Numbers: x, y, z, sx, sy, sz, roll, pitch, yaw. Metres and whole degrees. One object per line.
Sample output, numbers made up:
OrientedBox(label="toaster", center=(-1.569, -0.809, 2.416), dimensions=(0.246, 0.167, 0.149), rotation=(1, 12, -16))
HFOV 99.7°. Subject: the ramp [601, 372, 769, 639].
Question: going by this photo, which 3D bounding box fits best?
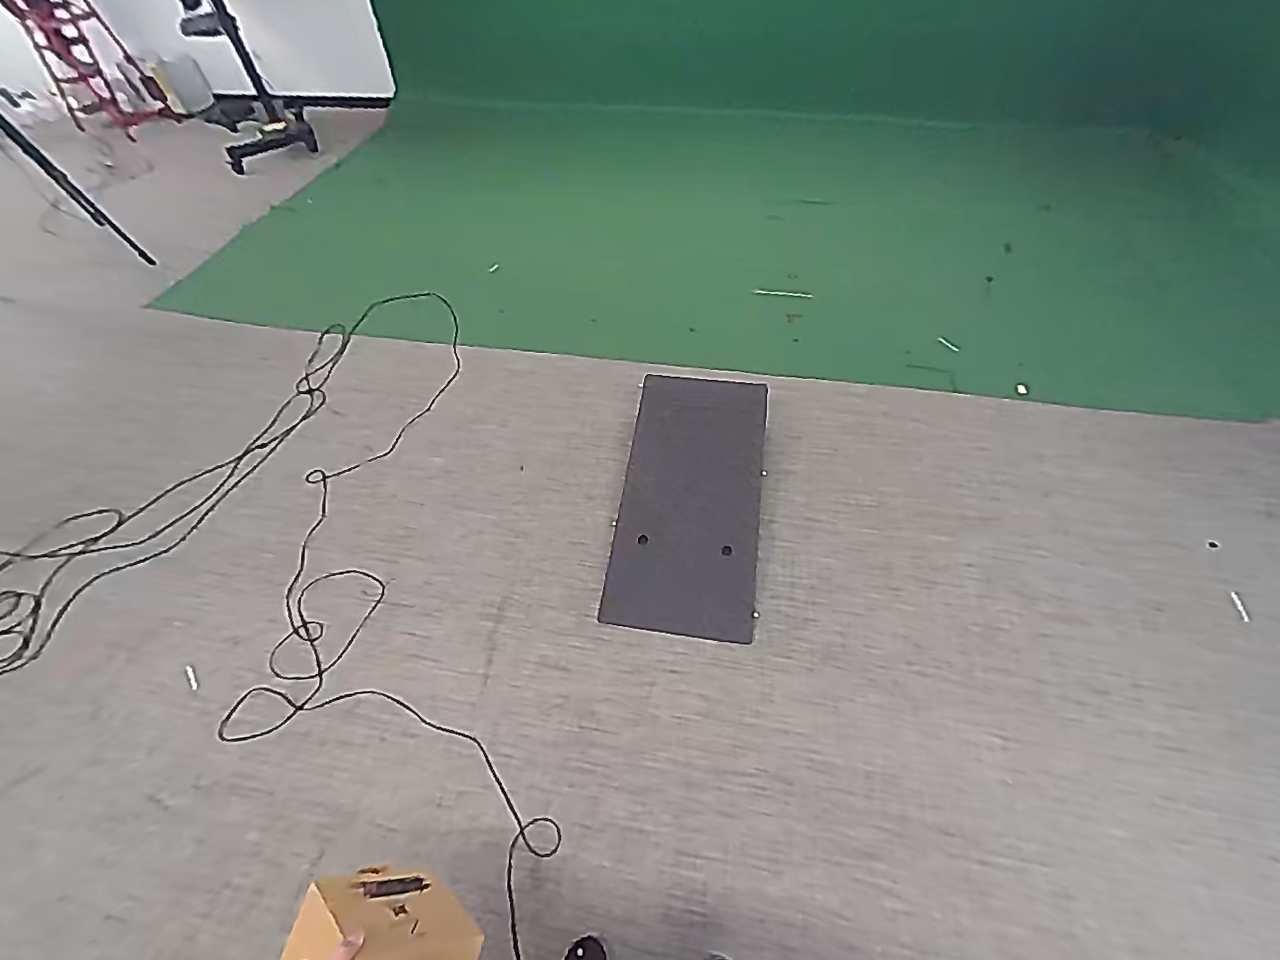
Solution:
OrientedBox(label="ramp", center=(0.191, 0.032, 1.914), dimensions=(0.509, 0.206, 0.991), rotation=(6, 52, 6))
